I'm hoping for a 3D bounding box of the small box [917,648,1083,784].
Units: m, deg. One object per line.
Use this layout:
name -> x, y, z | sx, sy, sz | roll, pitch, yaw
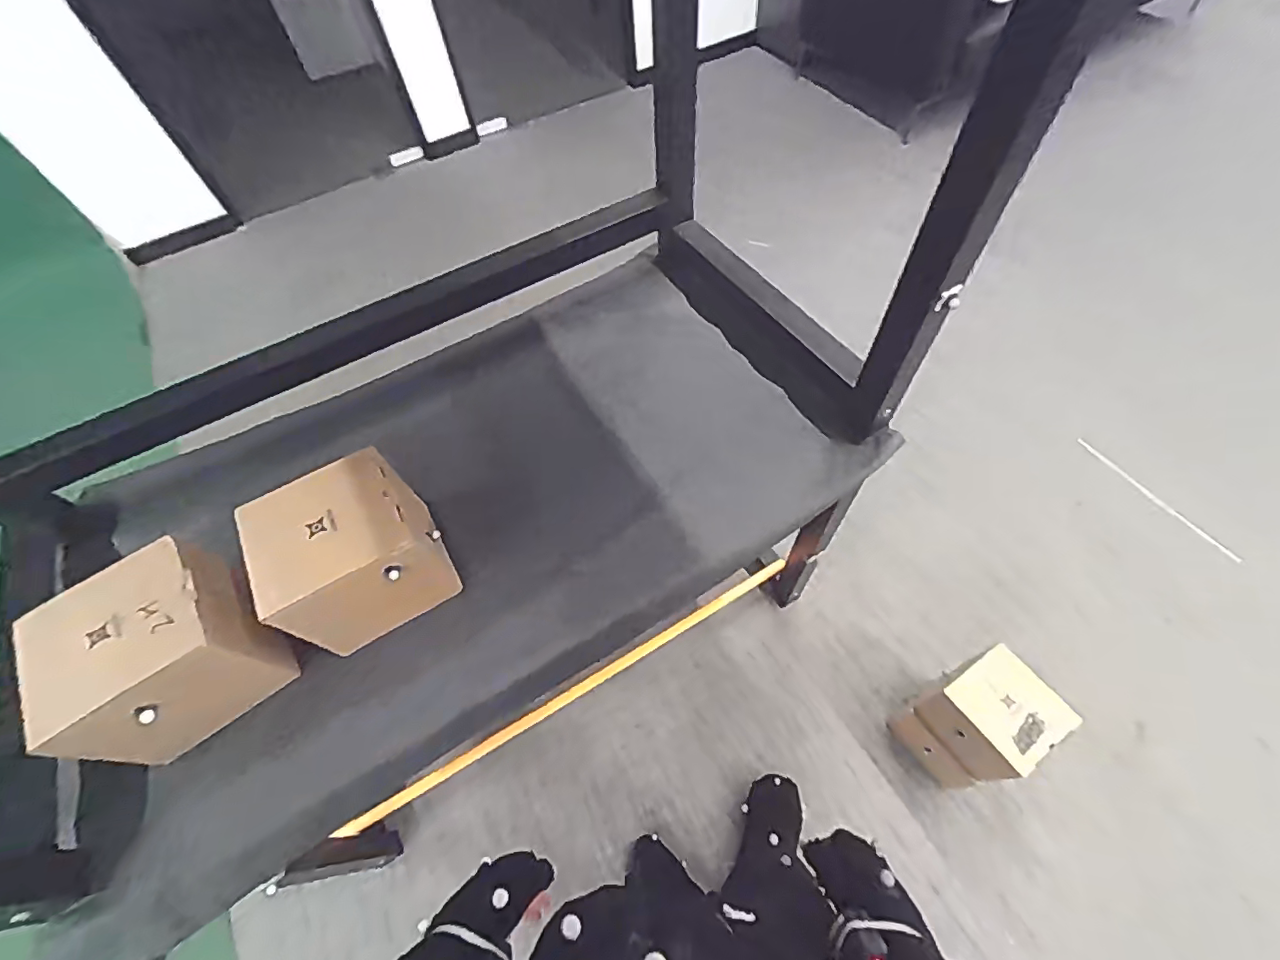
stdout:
small box -> 0.685, 0.462, 1.052 | 0.168, 0.176, 0.179 | -31, 60, -13
